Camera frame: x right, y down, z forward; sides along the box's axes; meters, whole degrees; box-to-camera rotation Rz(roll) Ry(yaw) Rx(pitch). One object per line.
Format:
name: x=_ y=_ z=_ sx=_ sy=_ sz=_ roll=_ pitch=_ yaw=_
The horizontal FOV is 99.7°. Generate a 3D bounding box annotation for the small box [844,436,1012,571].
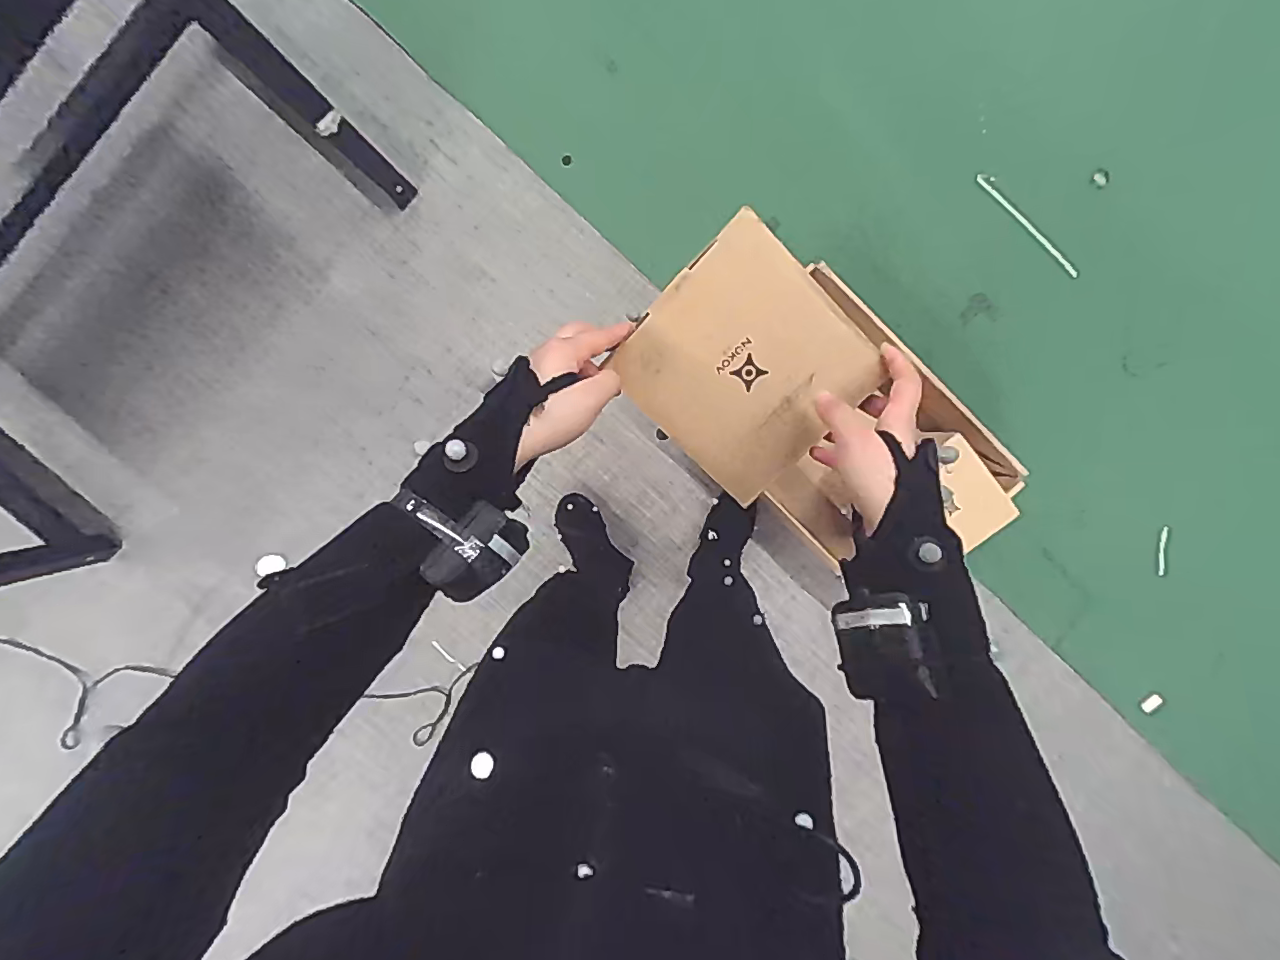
small box: x=0.508 y=0.032 z=0.981 sx=0.168 sy=0.176 sz=0.179 roll=-37 pitch=93 yaw=4

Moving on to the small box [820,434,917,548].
small box: x=0.515 y=0.013 z=1.144 sx=0.179 sy=0.176 sz=0.168 roll=-38 pitch=93 yaw=6

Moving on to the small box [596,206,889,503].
small box: x=0.083 y=-0.114 z=0.504 sx=0.179 sy=0.176 sz=0.168 roll=42 pitch=107 yaw=-12
